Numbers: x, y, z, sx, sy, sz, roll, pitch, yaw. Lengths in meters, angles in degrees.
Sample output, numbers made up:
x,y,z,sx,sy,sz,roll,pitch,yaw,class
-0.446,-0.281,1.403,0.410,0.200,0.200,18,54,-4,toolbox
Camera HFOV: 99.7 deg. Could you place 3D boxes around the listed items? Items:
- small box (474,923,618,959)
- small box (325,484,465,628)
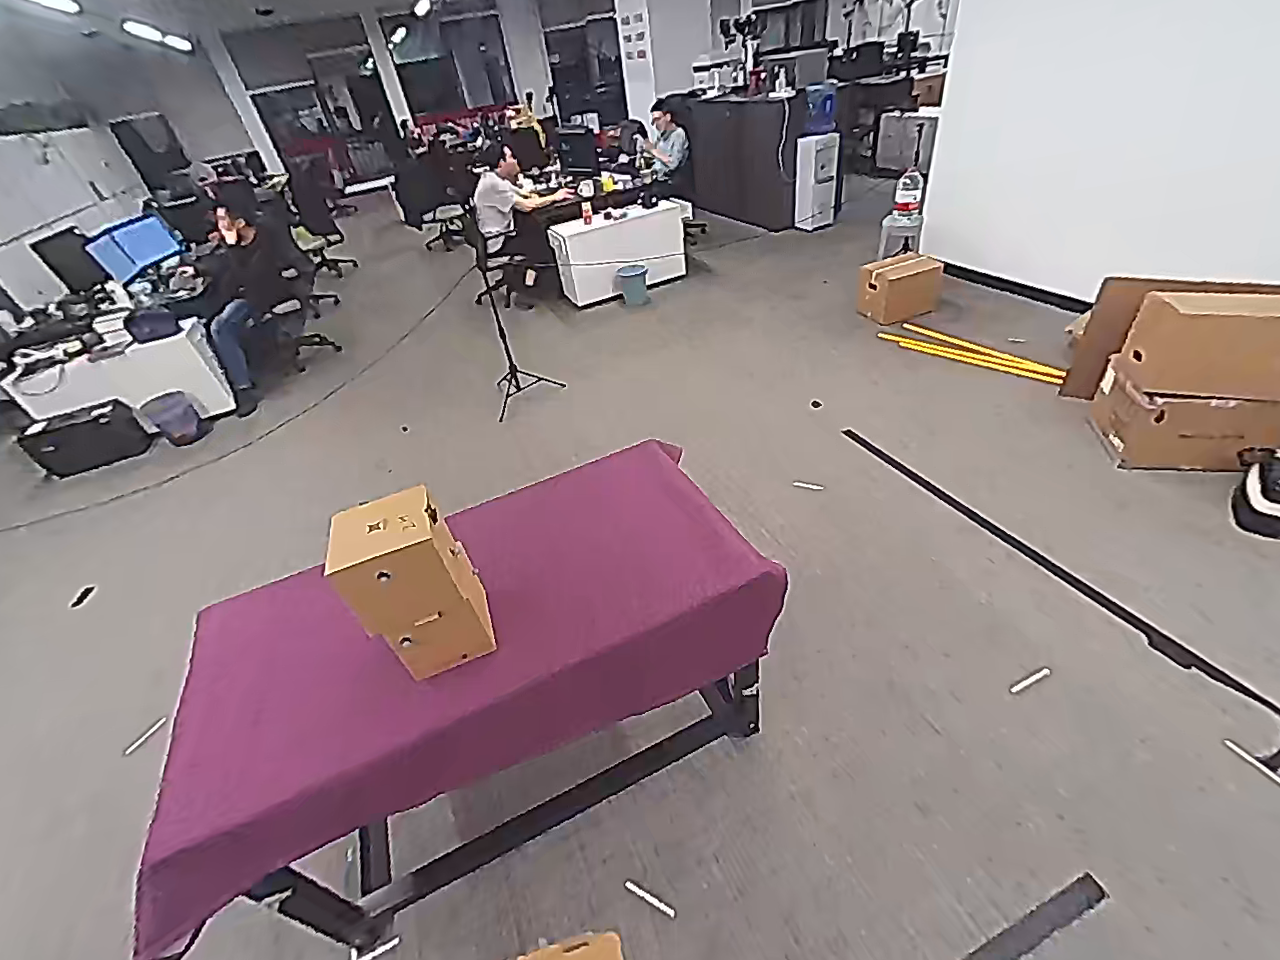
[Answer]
x,y,z,sx,sy,sz,roll,pitch,yaw,class
-0.104,0.591,0.559,0.168,0.176,0.179,-3,50,-19,small box
-0.442,0.141,0.994,0.179,0.176,0.168,-19,39,-11,small box
